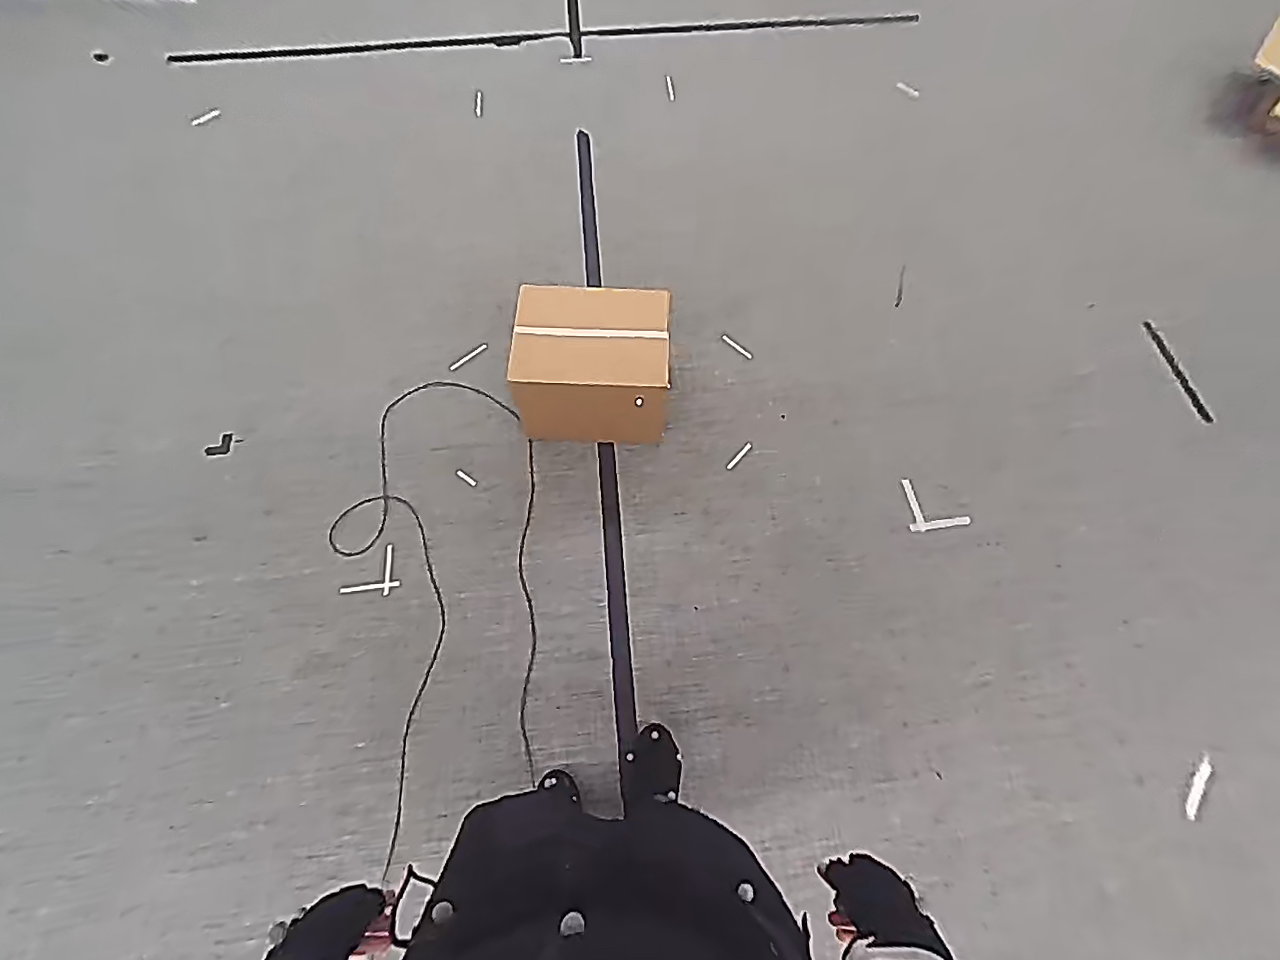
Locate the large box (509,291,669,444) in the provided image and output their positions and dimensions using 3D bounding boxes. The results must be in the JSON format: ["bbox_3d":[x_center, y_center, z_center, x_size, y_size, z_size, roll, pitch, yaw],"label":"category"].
[{"bbox_3d":[-0.127,-0.307,1.533,0.408,0.320,0.320,2,66,-1],"label":"large box"}]
